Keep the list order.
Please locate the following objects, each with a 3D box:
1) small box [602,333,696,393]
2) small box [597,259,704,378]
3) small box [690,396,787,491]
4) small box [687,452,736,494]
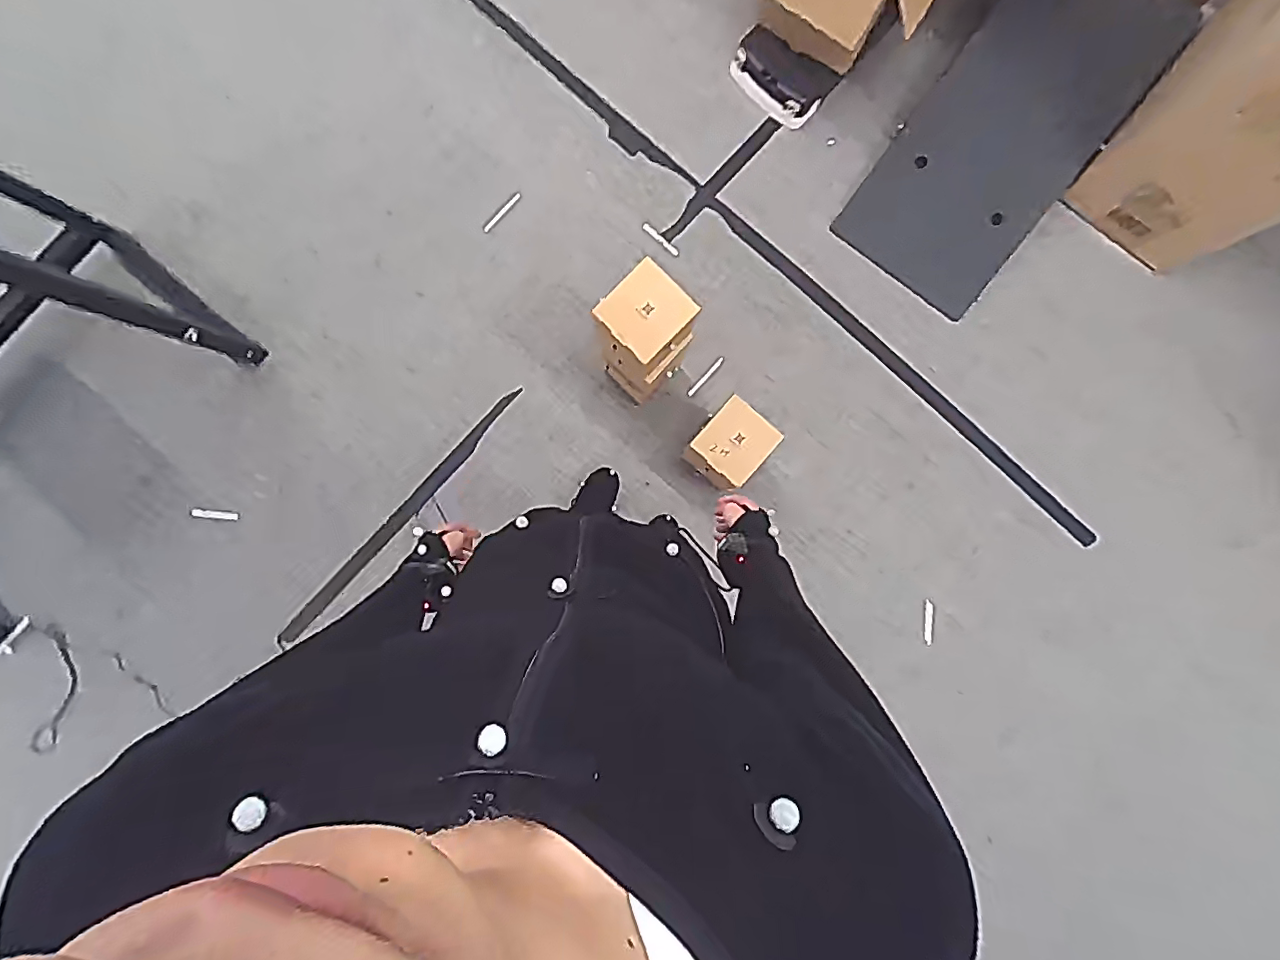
[{"bbox_3d":[0.020,-0.346,1.399,0.179,0.176,0.168,43,89,-1],"label":"small box"},{"bbox_3d":[0.019,-0.360,1.237,0.168,0.176,0.179,45,90,-1],"label":"small box"},{"bbox_3d":[0.244,-0.089,1.400,0.168,0.176,0.179,42,89,1],"label":"small box"},{"bbox_3d":[0.250,-0.077,1.565,0.168,0.176,0.179,41,90,1],"label":"small box"}]
